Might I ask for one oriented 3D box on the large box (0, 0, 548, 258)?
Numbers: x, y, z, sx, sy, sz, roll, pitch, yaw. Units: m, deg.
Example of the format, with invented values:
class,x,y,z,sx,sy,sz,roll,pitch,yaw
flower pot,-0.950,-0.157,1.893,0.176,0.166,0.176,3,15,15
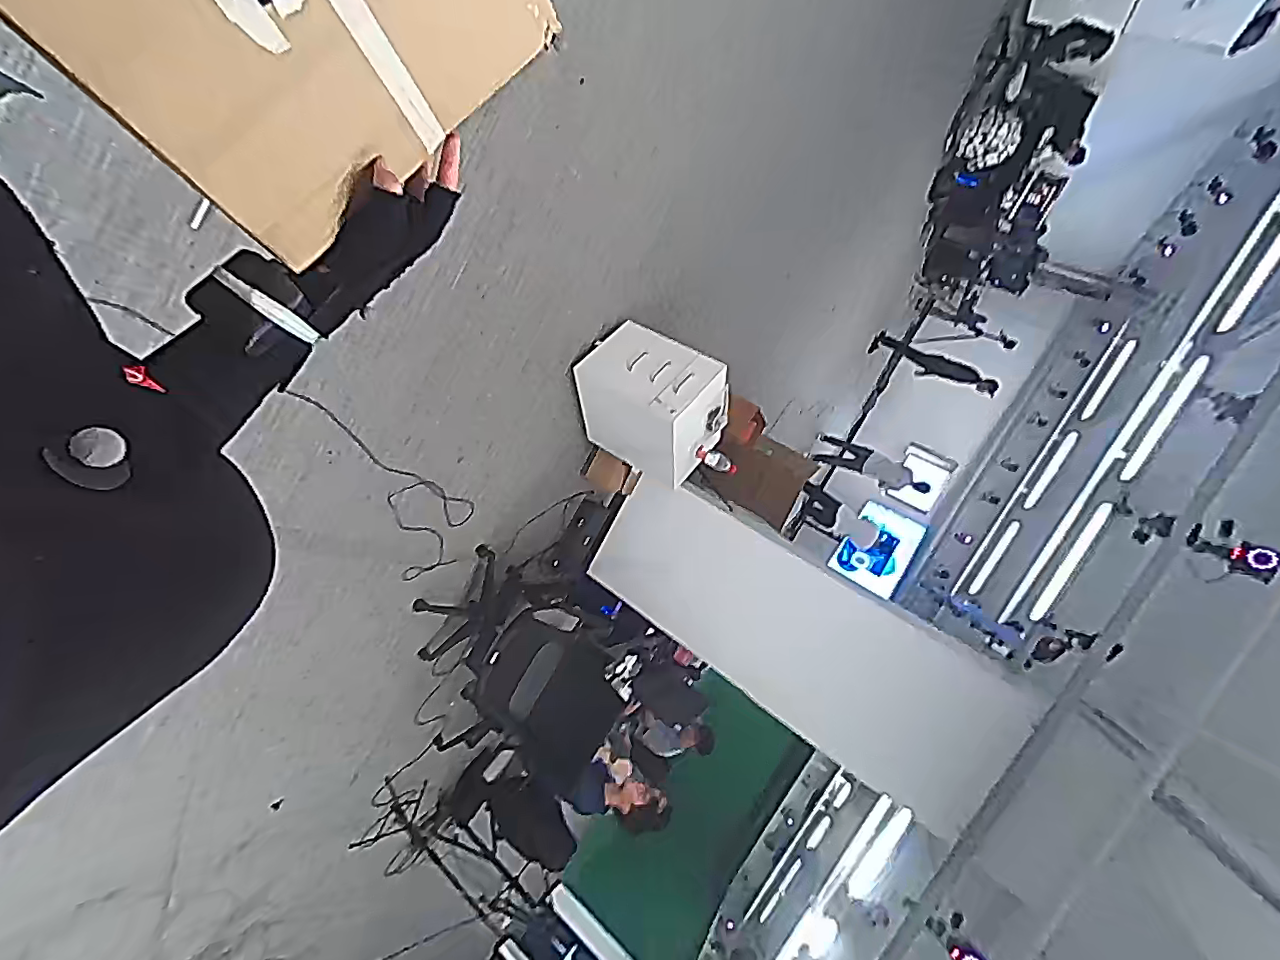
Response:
class,x,y,z,sx,sy,sz,roll,pitch,yaw
large box,-0.339,-0.445,0.352,0.320,0.320,0.408,-48,153,-8
